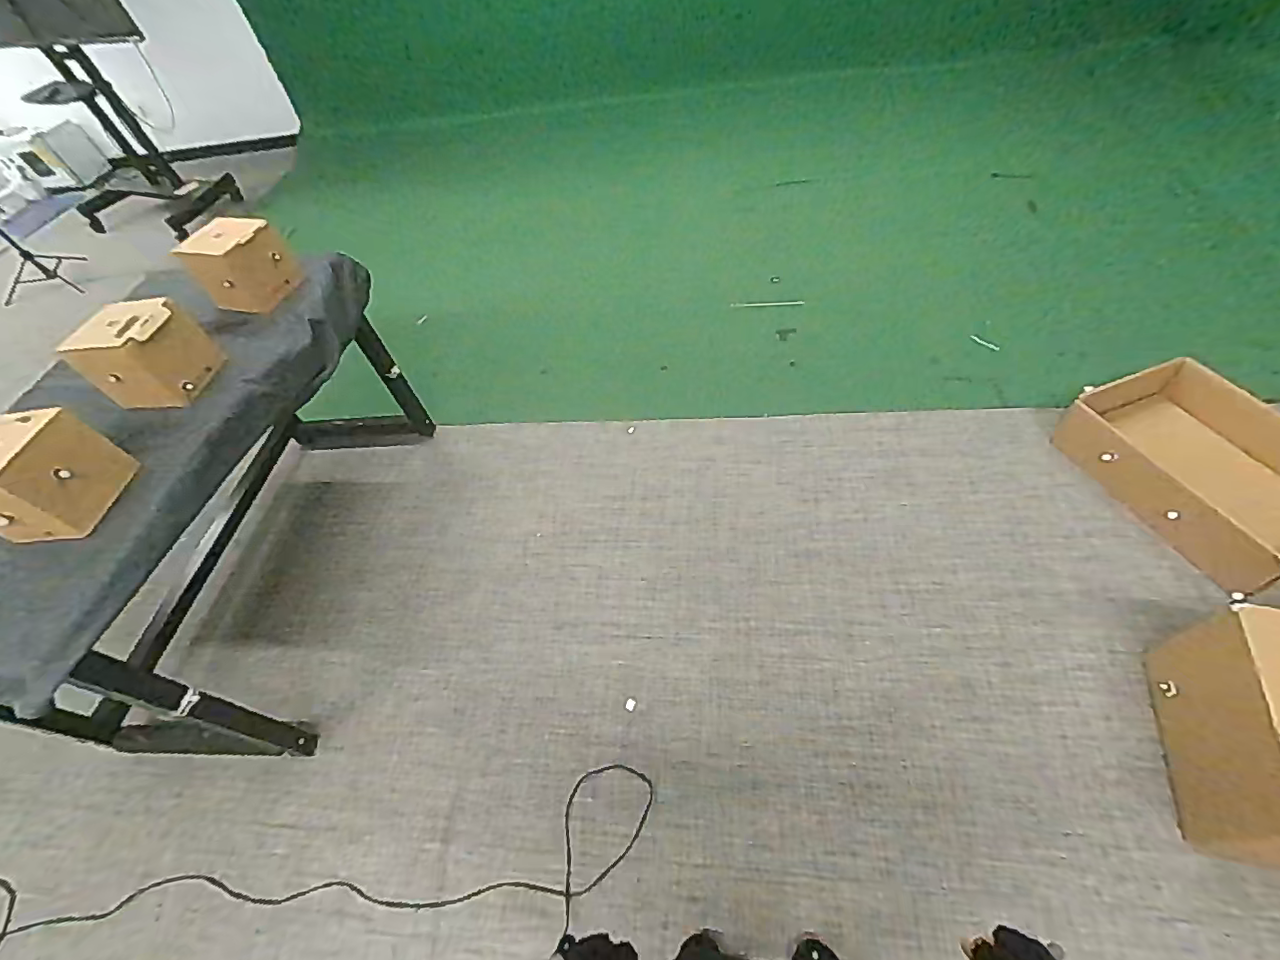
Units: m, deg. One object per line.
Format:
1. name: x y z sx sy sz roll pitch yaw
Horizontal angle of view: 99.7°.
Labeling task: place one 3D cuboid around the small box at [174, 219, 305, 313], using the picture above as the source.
1. small box: -1.026 -0.553 1.405 0.179 0.176 0.168 9 55 17

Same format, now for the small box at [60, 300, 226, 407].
1. small box: -1.087 -0.277 1.204 0.179 0.176 0.168 -1 53 10

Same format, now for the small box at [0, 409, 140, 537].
1. small box: -1.098 -0.005 0.998 0.168 0.176 0.179 -5 53 8
